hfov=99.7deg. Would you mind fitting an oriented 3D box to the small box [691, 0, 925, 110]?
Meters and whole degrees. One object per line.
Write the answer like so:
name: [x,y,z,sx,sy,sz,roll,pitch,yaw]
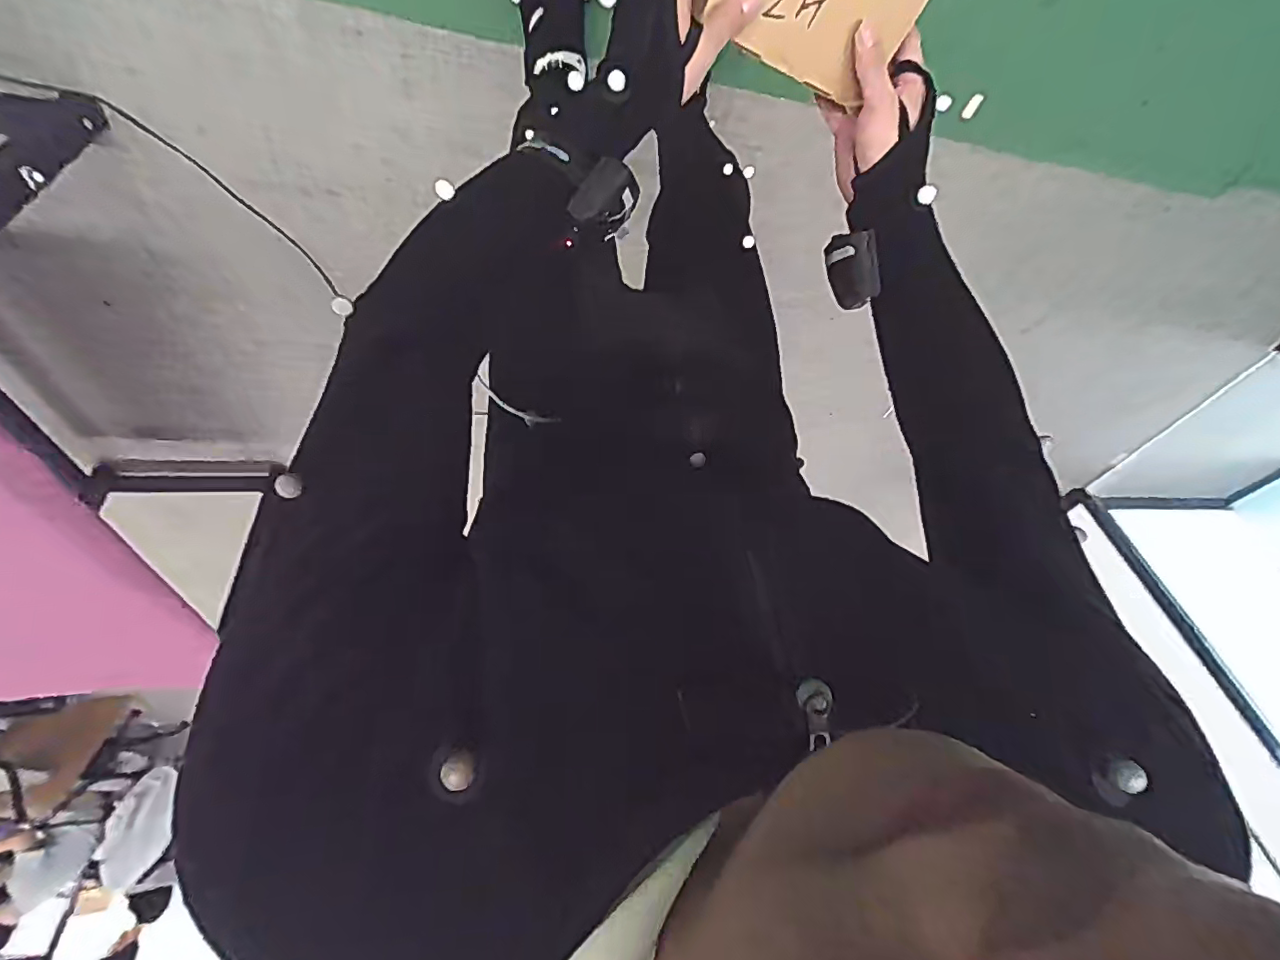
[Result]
small box: [0.145,-0.461,0.447,0.168,0.176,0.179,11,139,-22]
